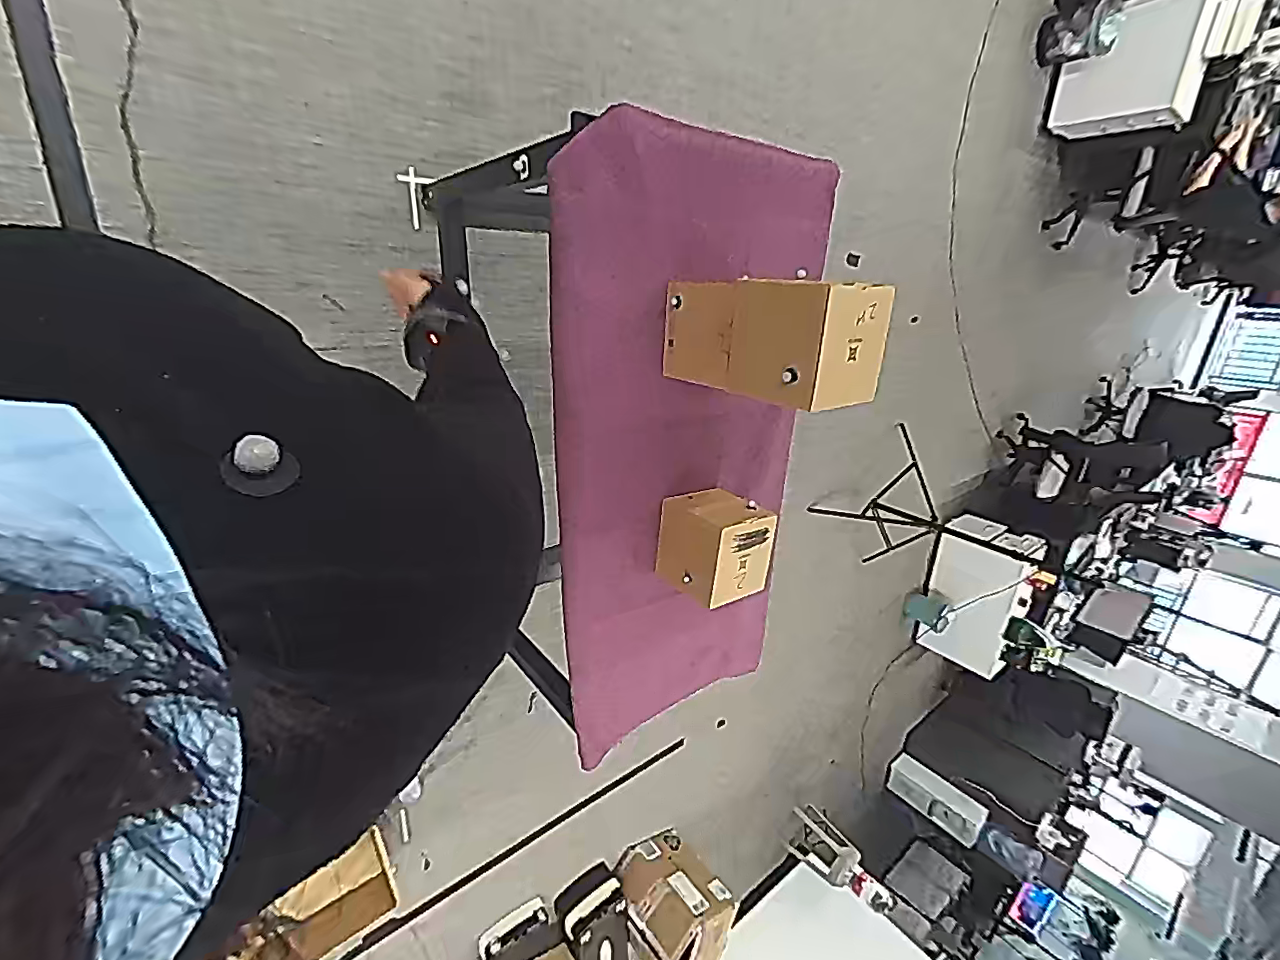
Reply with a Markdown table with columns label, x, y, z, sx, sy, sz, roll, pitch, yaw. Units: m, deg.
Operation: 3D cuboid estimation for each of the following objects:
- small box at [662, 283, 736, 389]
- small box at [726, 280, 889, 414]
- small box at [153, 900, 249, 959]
| label | x | y | z | sx | sy | sz | roll | pitch | yaw |
| --- | --- | --- | --- | --- | --- | --- | --- | --- | --- |
| small box | 0.157 | -0.261 | 0.969 | 0.179 | 0.176 | 0.168 | -13 | 116 | -37 |
| small box | 0.252 | -0.213 | 0.843 | 0.168 | 0.176 | 0.179 | -13 | 116 | -36 |
| small box | -1.140 | 1.261 | 1.410 | 0.168 | 0.176 | 0.179 | -18 | 118 | -35 |
